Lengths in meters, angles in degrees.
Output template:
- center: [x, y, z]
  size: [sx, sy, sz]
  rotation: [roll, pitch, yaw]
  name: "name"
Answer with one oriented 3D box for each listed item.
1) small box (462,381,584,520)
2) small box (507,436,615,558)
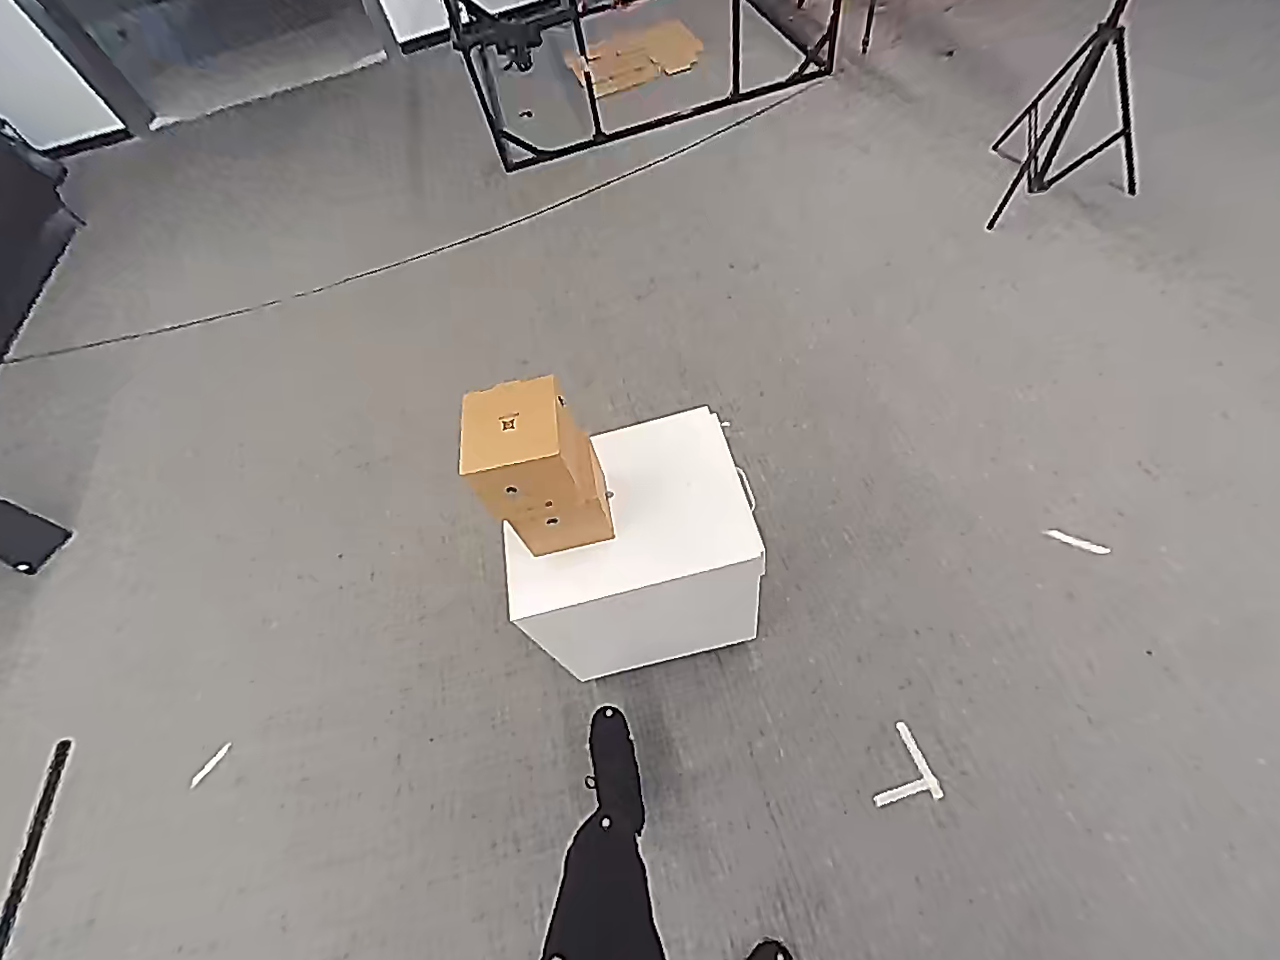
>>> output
- center: [-0.201, -0.042, 0.961]
  size: [0.168, 0.176, 0.179]
  rotation: [-12, 56, 3]
  name: "small box"
- center: [-0.160, 0.041, 1.095]
  size: [0.179, 0.176, 0.168]
  rotation: [-13, 56, 1]
  name: "small box"
